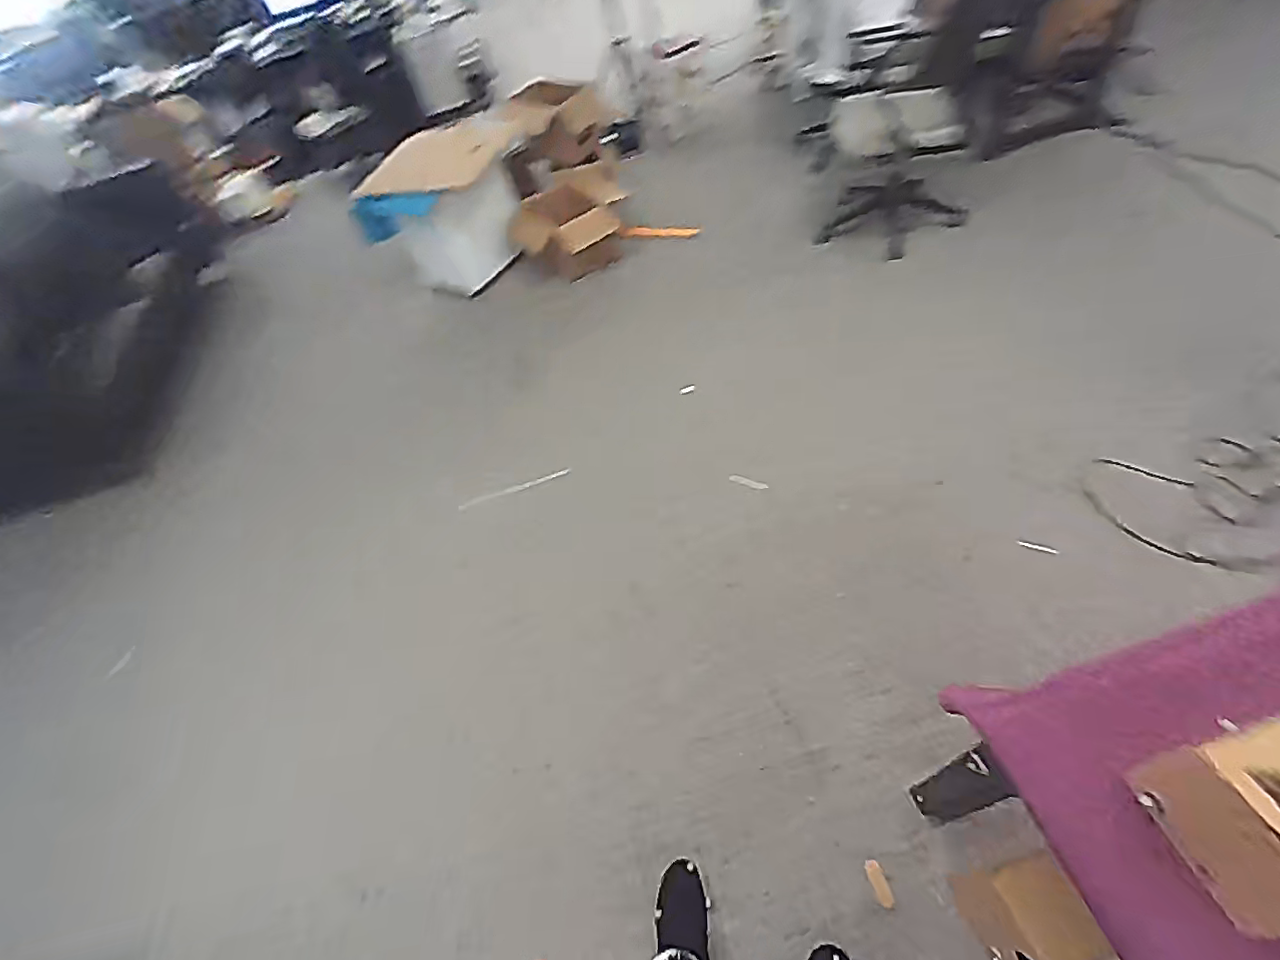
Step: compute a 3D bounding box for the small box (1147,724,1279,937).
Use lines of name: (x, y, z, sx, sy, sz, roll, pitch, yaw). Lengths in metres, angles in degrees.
small box: (0.704, 0.362, 0.573, 0.179, 0.176, 0.168, -18, 52, -2)

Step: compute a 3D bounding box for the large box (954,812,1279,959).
large box: (0.892, 0.857, 0.999, 0.408, 0.320, 0.320, -19, 52, -2)
